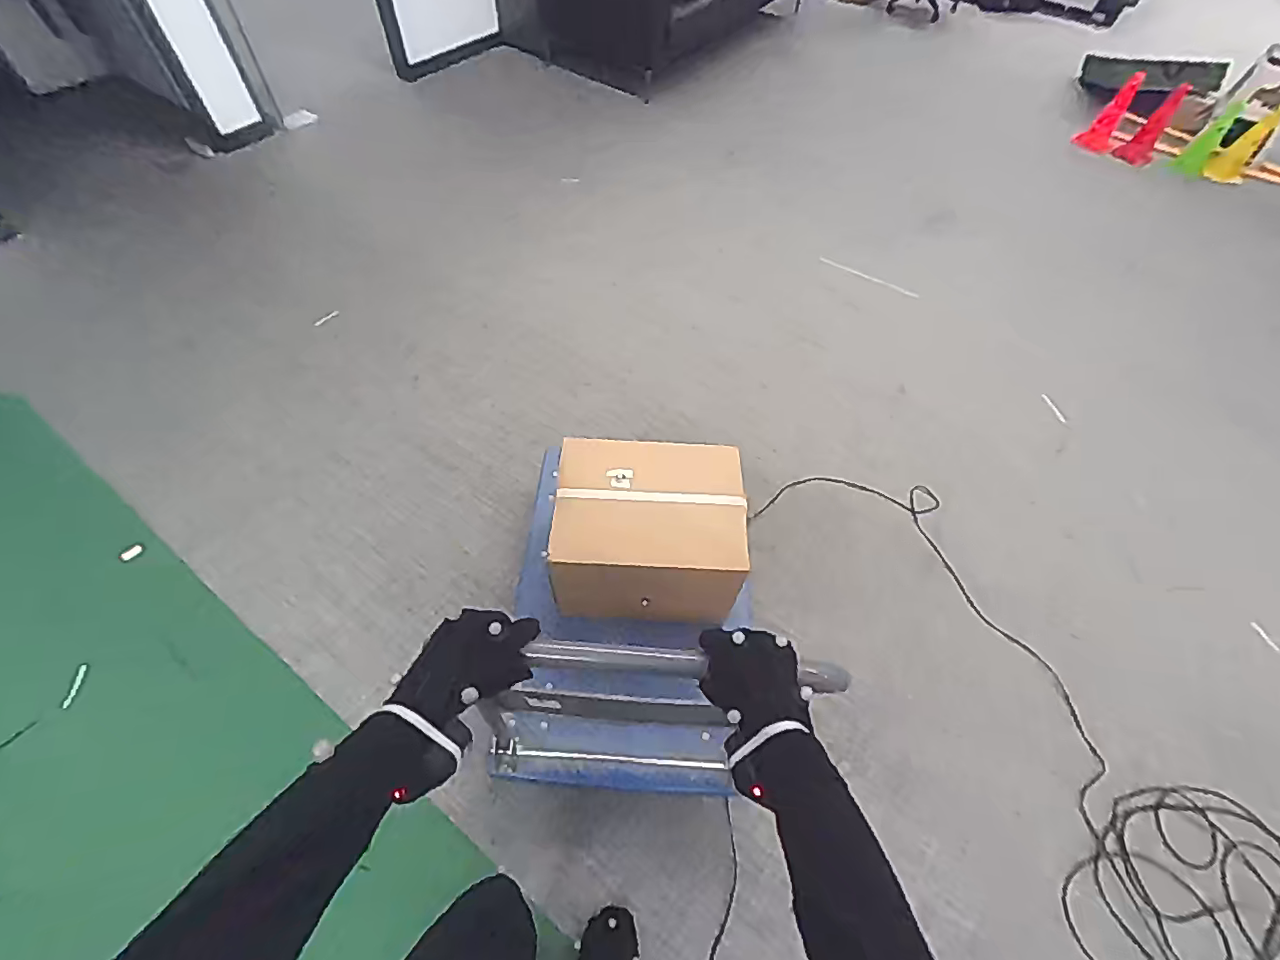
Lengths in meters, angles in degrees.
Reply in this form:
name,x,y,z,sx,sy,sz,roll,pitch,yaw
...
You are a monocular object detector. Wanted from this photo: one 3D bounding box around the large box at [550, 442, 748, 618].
name,x,y,z,sx,sy,sz,roll,pitch,yaw
large box,0.018,0.128,1.280,0.408,0.320,0.320,2,56,-1
